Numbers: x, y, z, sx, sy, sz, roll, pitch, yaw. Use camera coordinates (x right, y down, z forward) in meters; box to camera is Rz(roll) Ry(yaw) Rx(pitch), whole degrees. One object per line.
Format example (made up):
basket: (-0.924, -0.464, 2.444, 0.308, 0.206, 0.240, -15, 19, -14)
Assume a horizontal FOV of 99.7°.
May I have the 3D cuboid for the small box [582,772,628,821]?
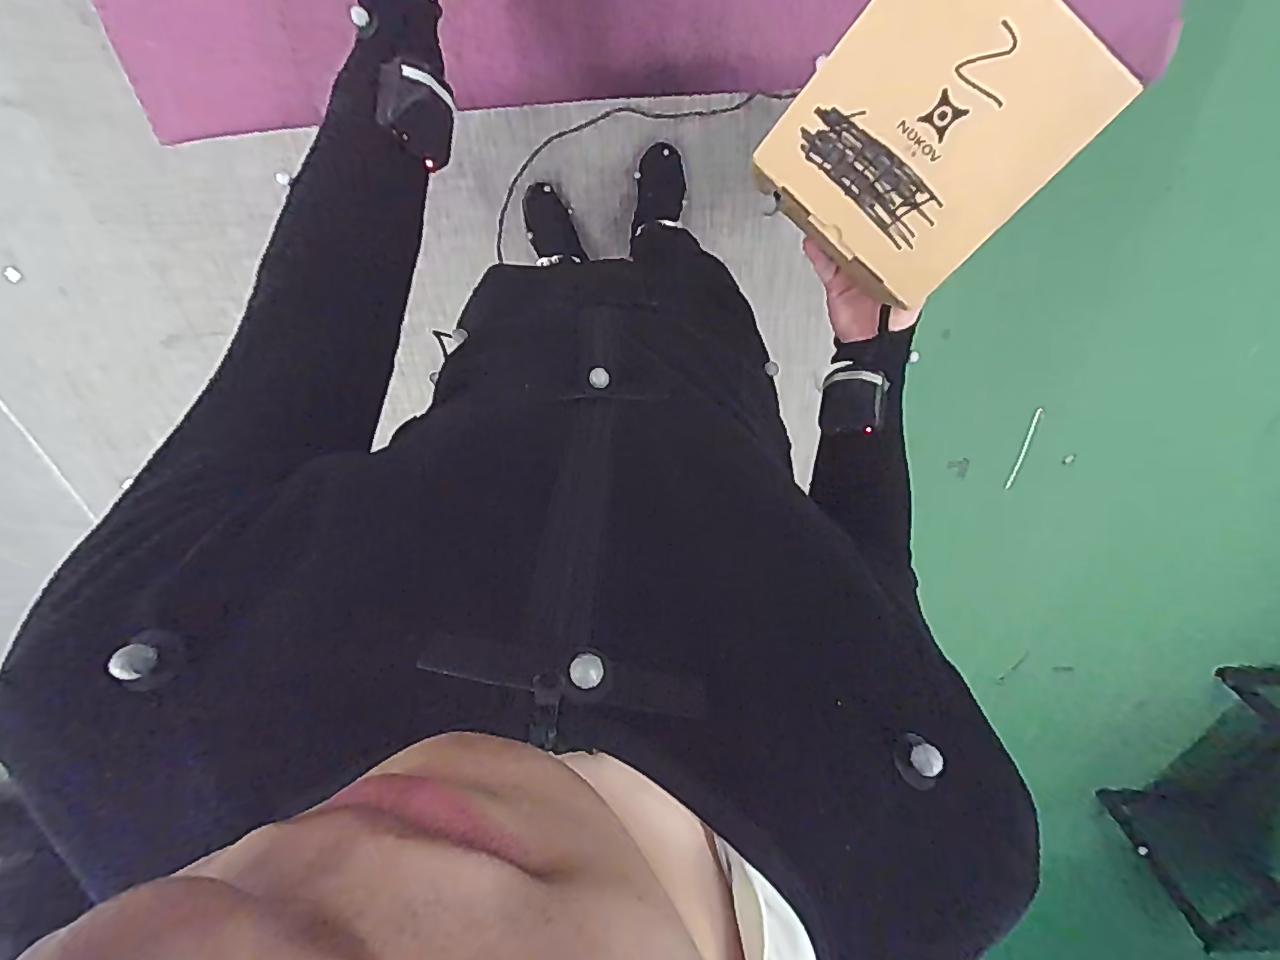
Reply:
small box: (-0.128, 1.219, 2.020, 0.168, 0.176, 0.179, -2, 122, -2)
